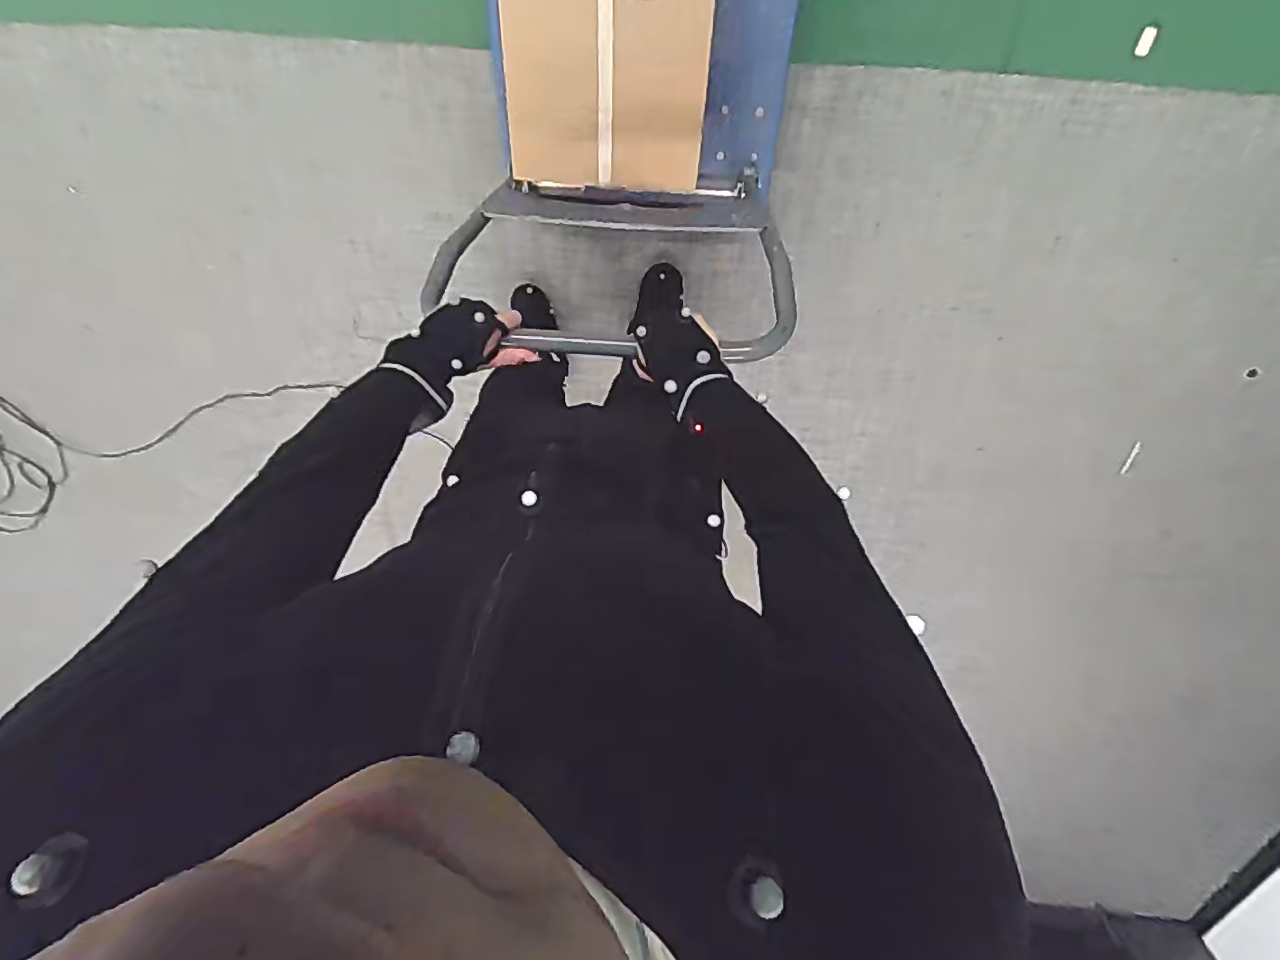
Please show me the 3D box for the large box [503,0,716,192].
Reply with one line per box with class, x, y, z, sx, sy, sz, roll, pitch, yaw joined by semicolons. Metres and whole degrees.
large box;-0.037;-0.742;0.919;0.320;0.320;0.408;4;128;1
